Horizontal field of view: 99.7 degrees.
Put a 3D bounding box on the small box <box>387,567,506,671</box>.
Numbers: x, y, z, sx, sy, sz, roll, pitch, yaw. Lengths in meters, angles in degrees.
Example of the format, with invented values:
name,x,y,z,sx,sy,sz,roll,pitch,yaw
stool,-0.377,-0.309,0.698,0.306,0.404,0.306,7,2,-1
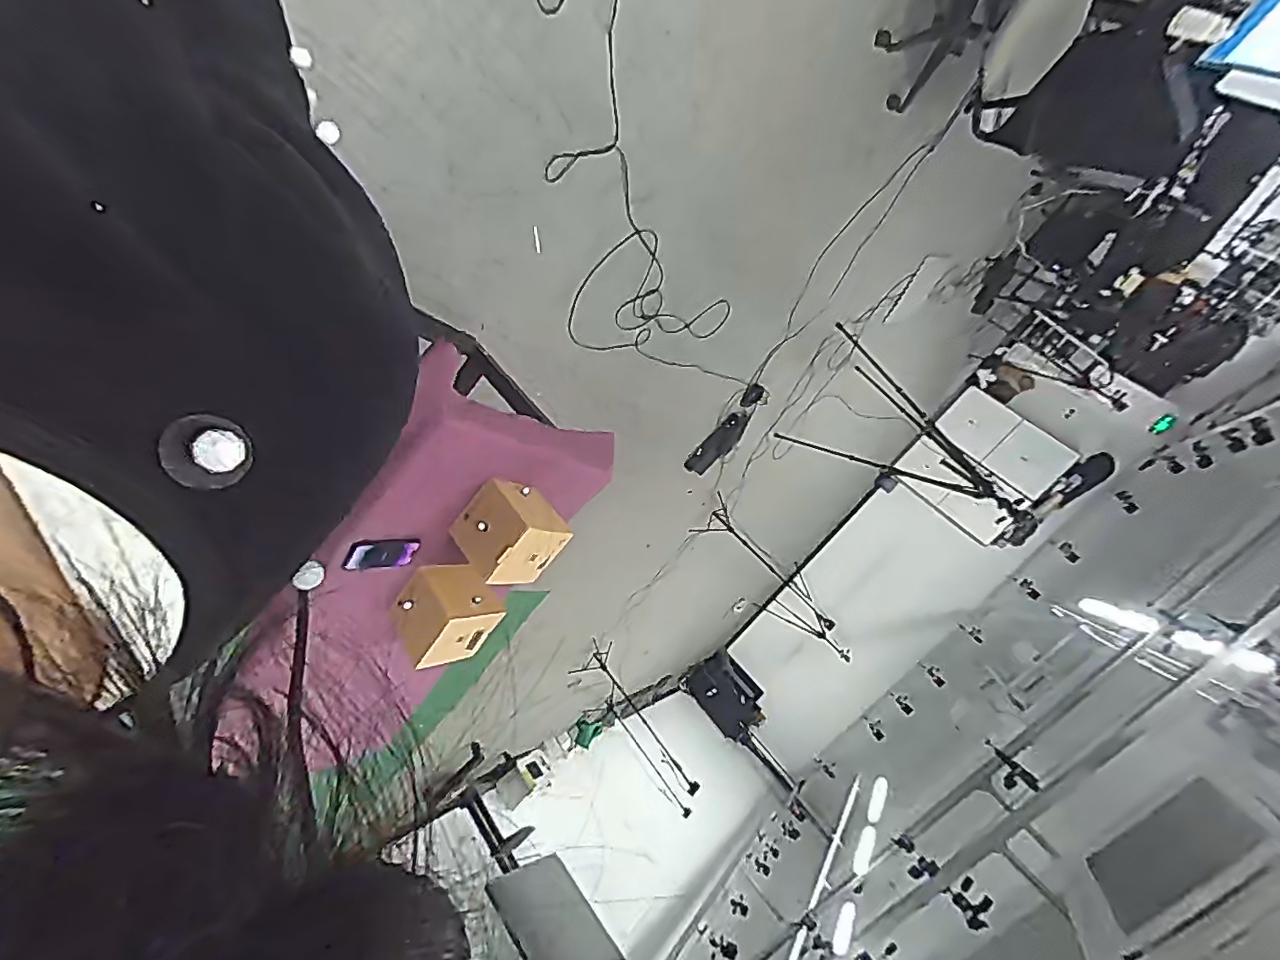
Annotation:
name,x,y,z,sx,sy,sz,roll,pitch,yaw
small box,-0.465,0.323,1.298,0.168,0.176,0.179,-52,152,15

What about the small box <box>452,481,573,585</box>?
name,x,y,z,sx,sy,sz,roll,pitch,yaw
small box,-0.295,0.122,1.246,0.168,0.176,0.179,-49,153,10
